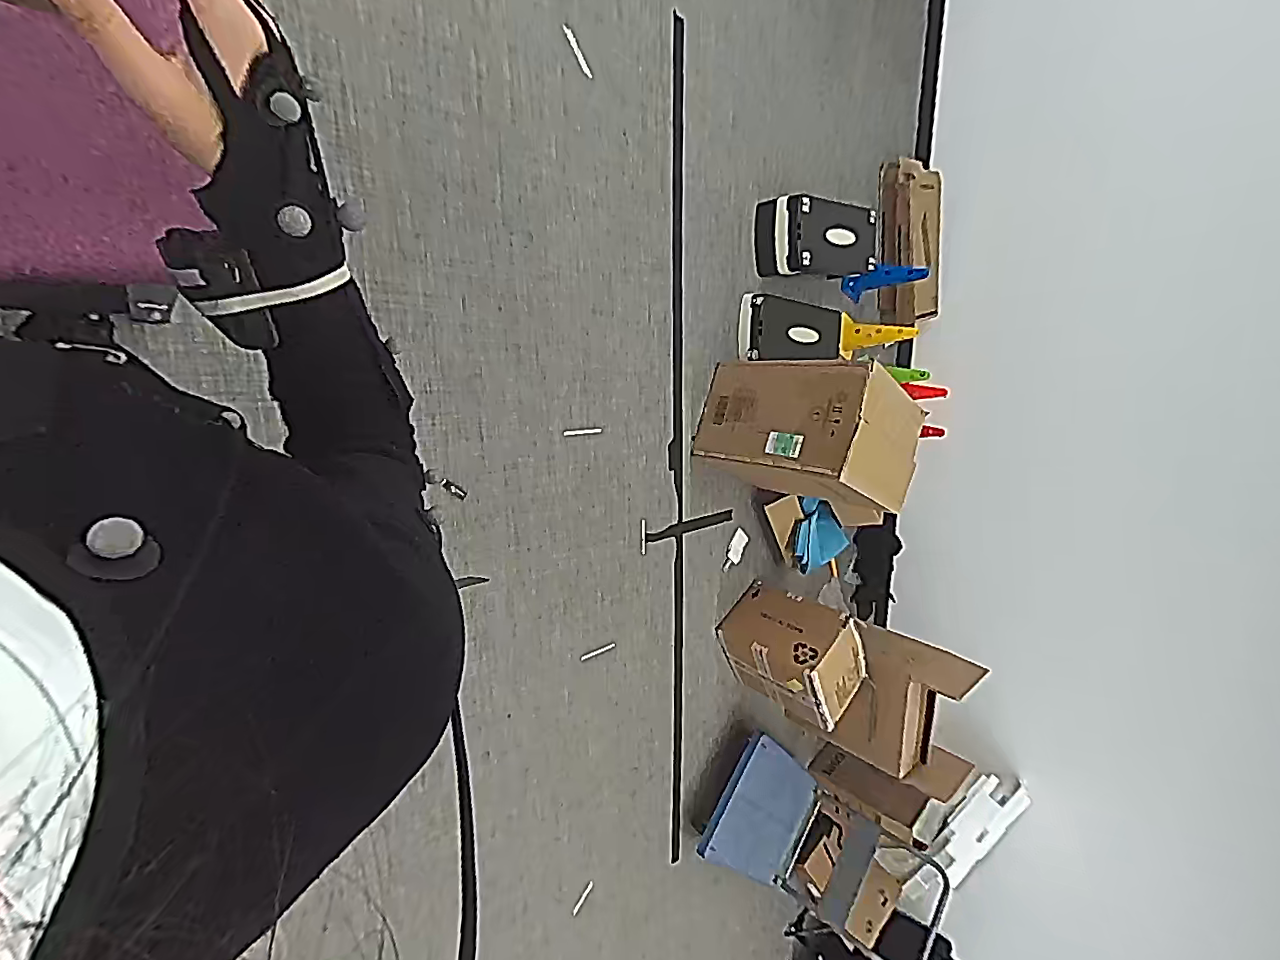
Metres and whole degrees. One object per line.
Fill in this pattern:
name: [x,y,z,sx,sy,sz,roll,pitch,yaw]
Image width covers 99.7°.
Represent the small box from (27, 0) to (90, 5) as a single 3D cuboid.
small box: [-0.316,-0.295,0.180,0.179,0.176,0.168,-13,125,-41]
